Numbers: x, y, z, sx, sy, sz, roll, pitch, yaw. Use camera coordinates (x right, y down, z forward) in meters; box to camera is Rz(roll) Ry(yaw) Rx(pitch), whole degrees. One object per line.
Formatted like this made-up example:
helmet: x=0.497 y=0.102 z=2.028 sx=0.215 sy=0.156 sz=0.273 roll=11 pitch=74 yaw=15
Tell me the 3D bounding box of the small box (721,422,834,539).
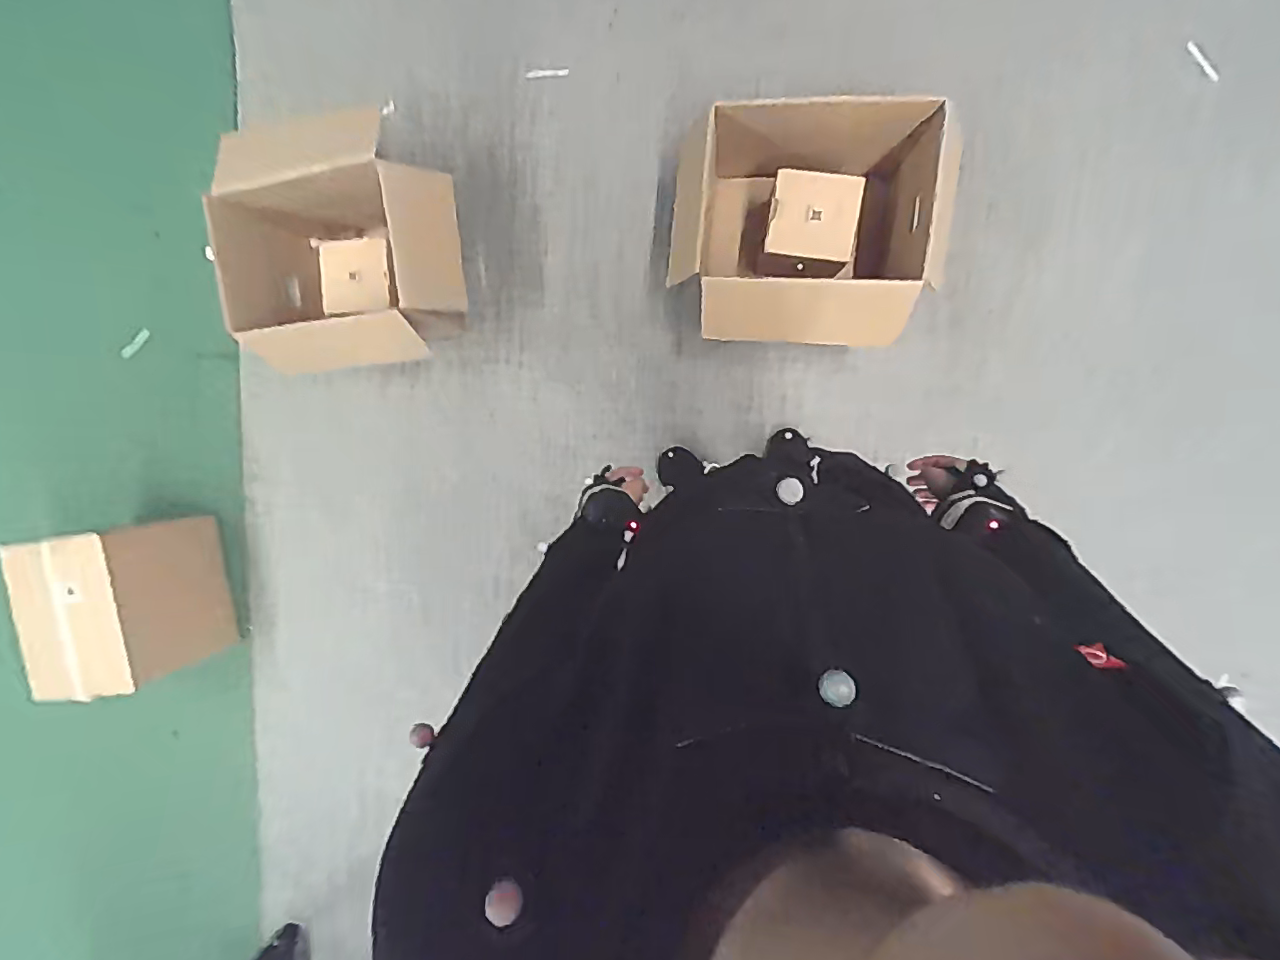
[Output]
small box: x=0.312 y=0.009 z=1.218 sx=0.179 sy=0.168 sz=0.176 roll=37 pitch=127 yaw=-9
